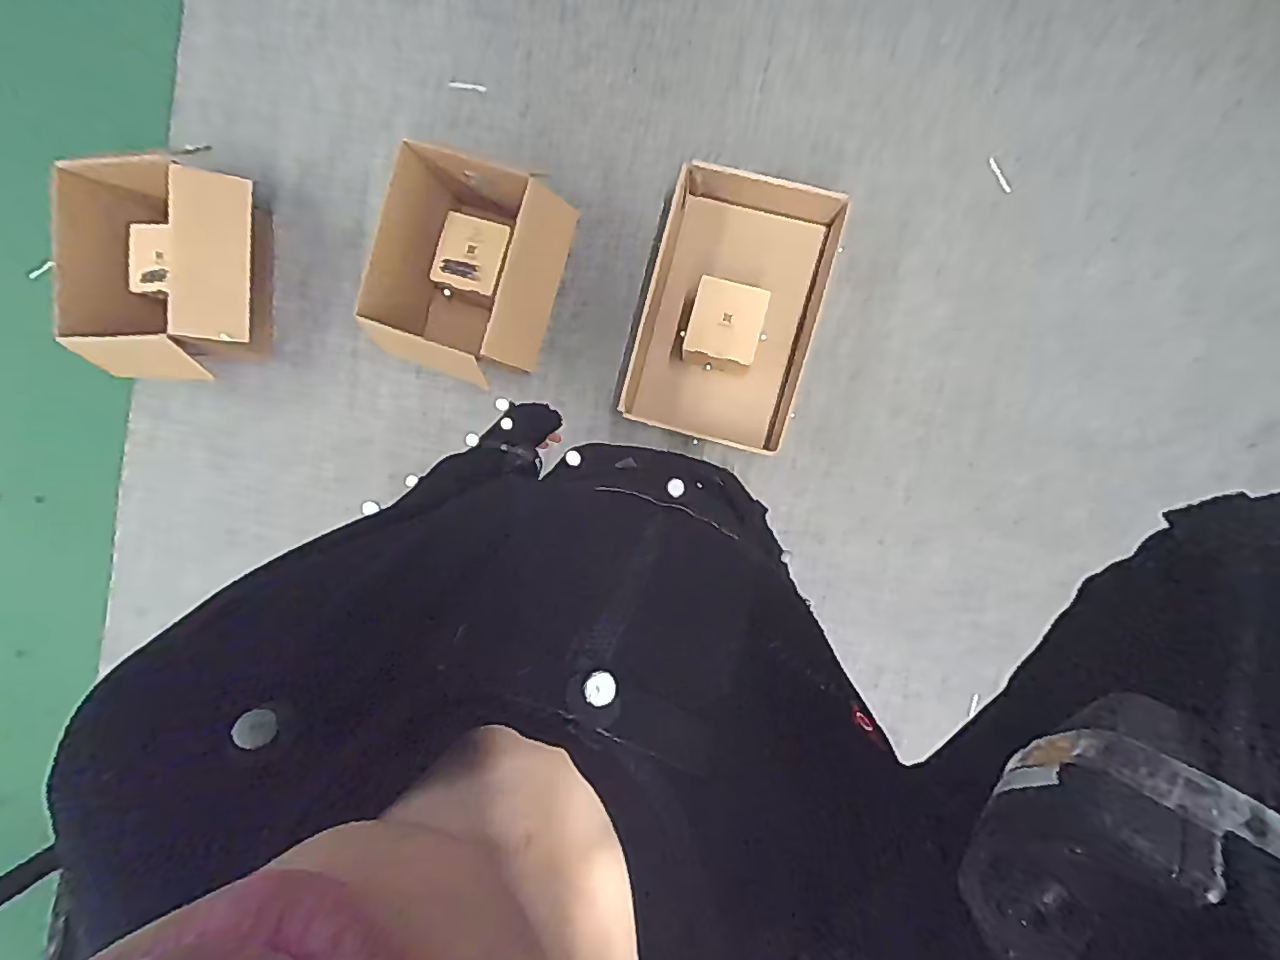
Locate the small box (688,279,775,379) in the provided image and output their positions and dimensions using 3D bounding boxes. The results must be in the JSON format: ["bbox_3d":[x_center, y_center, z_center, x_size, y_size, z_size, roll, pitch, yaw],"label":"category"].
[{"bbox_3d":[0.214,-0.358,1.311,0.168,0.176,0.179,15,93,5],"label":"small box"}]
